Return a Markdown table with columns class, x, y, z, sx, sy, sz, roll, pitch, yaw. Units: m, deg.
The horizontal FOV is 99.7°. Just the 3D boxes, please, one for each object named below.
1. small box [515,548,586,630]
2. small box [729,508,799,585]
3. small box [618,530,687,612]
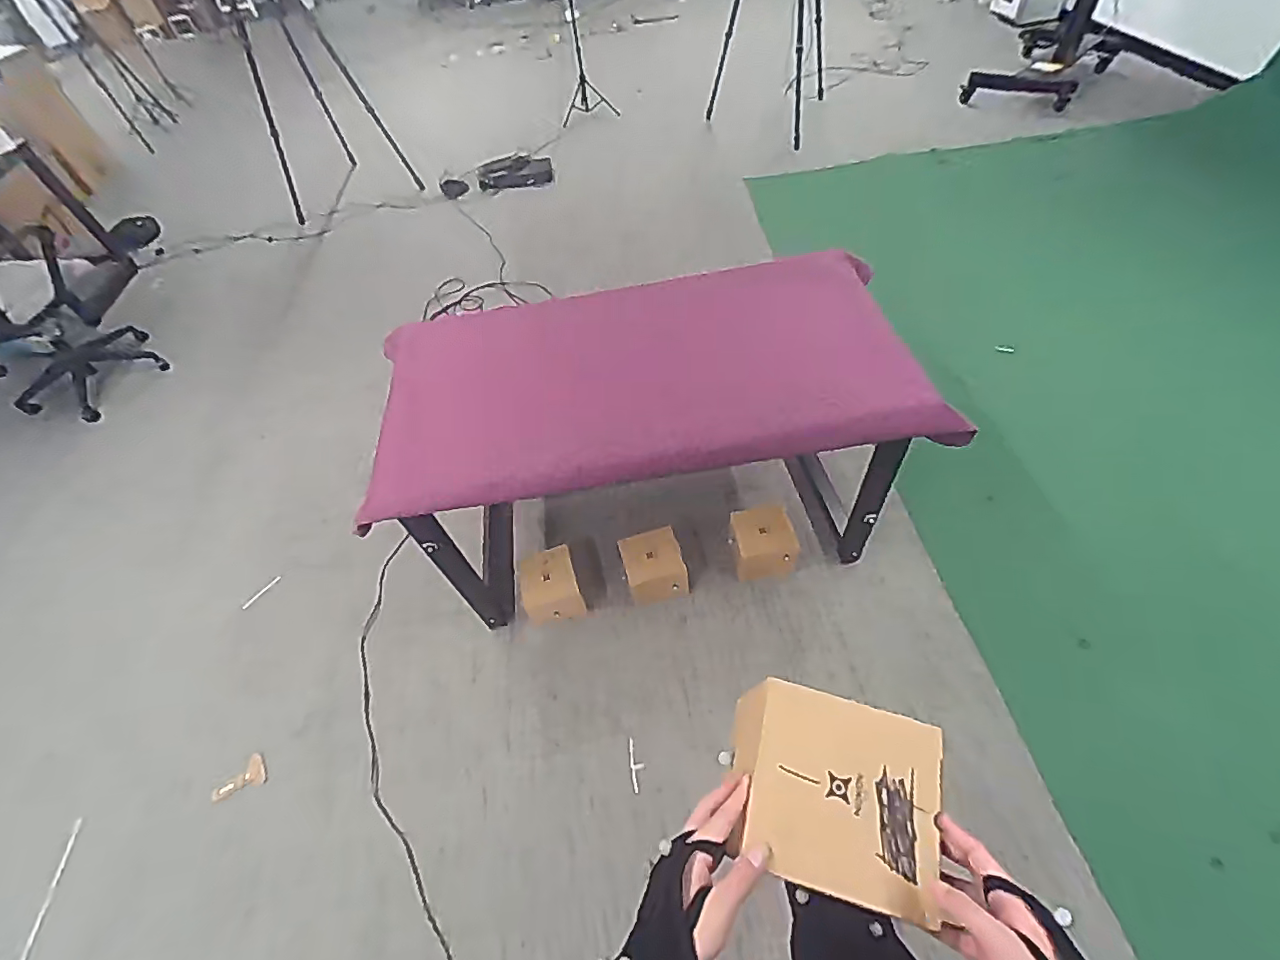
| class | x | y | z | sx | sy | sz | roll | pitch | yaw |
| --- | --- | --- | --- | --- | --- | --- | --- | --- | --- |
| small box | -0.271 | 0.341 | 1.659 | 0.168 | 0.176 | 0.179 | -17 | 52 | -6 |
| small box | 0.378 | 0.212 | 1.682 | 0.179 | 0.176 | 0.168 | -9 | 52 | -1 |
| small box | 0.040 | 0.282 | 1.668 | 0.179 | 0.176 | 0.168 | -15 | 51 | -4 |
